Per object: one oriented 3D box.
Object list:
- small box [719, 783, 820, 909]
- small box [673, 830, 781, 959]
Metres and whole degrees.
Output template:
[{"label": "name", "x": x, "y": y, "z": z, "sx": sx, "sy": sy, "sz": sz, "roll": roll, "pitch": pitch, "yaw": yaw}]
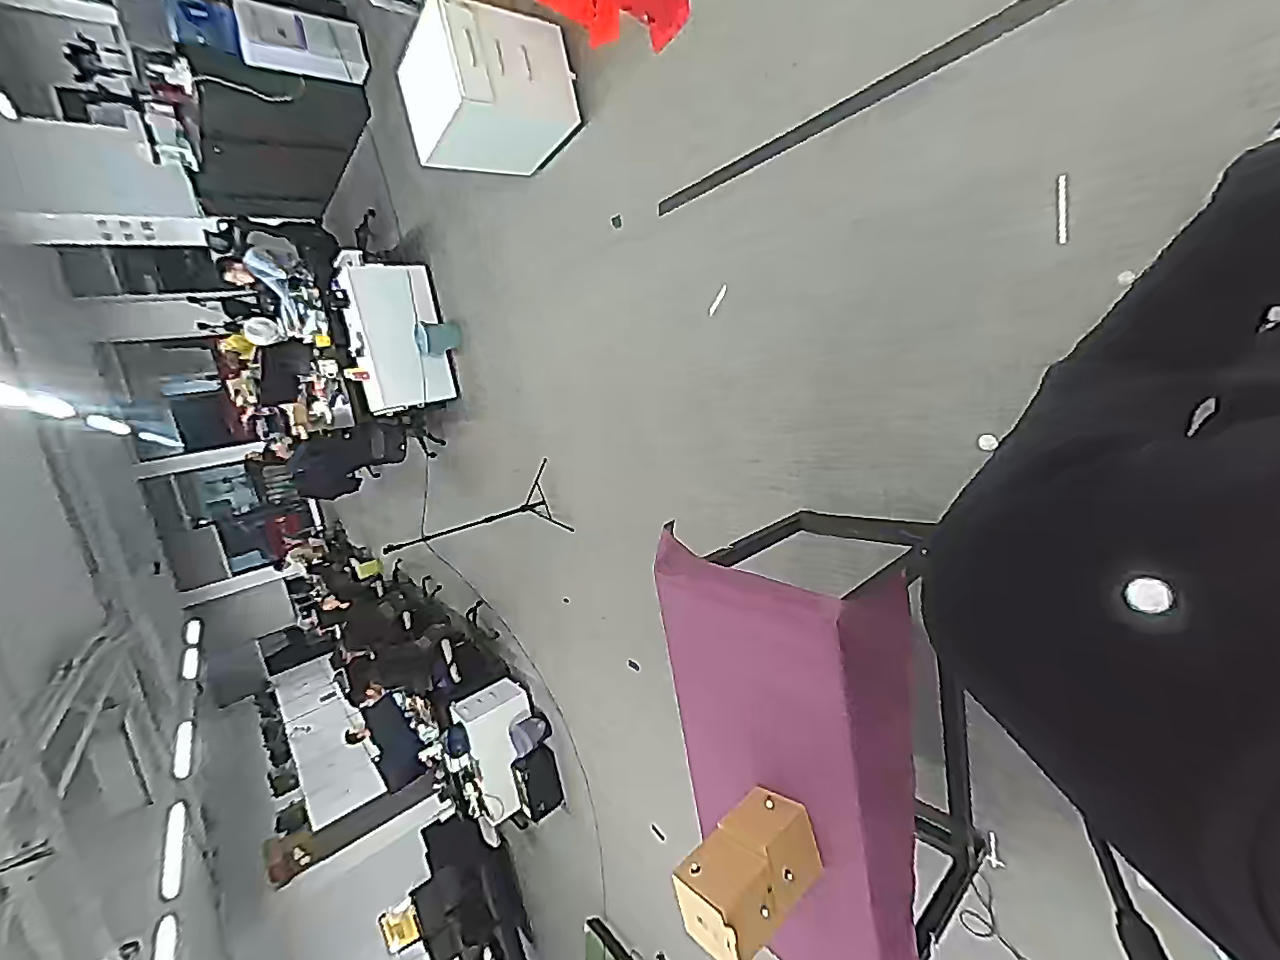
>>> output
[{"label": "small box", "x": 0.336, "y": 0.928, "z": 1.388, "sx": 0.168, "sy": 0.176, "sz": 0.179, "roll": -13, "pitch": 94, "yaw": 53}, {"label": "small box", "x": 0.210, "y": 0.991, "z": 1.300, "sx": 0.179, "sy": 0.176, "sz": 0.168, "roll": -4, "pitch": 102, "yaw": 53}]
